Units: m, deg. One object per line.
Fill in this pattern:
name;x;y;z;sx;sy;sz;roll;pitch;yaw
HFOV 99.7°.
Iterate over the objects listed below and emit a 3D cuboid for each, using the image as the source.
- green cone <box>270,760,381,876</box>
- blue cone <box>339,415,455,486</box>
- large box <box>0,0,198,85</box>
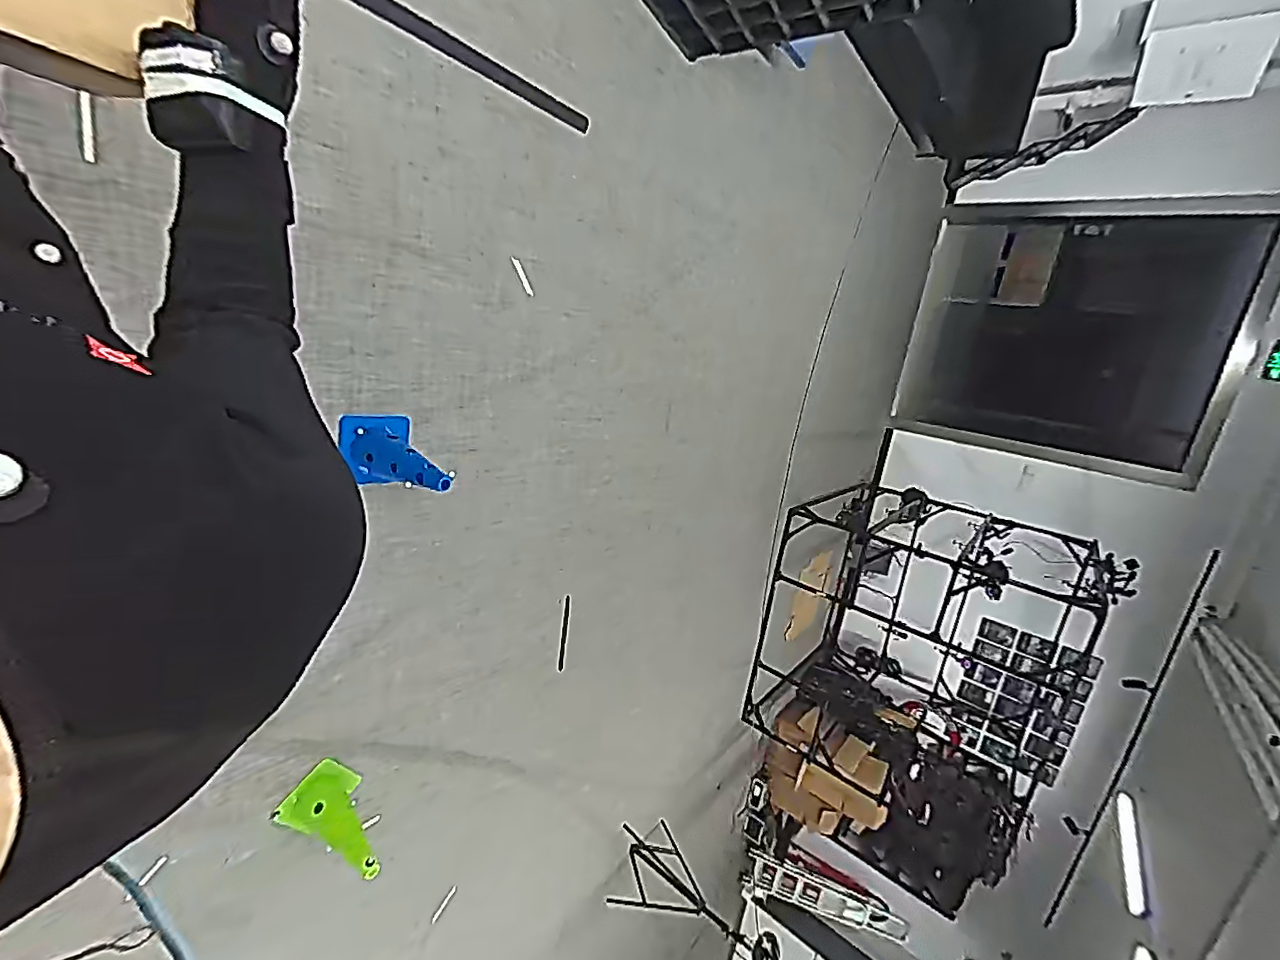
green cone;-0.885;1.045;1.606;0.202;0.368;0.200;-50;141;-29
blue cone;-0.633;-0.049;1.458;0.192;0.380;0.193;-6;110;-54
large box;-0.517;-0.461;0.267;0.408;0.320;0.320;-8;120;-53
